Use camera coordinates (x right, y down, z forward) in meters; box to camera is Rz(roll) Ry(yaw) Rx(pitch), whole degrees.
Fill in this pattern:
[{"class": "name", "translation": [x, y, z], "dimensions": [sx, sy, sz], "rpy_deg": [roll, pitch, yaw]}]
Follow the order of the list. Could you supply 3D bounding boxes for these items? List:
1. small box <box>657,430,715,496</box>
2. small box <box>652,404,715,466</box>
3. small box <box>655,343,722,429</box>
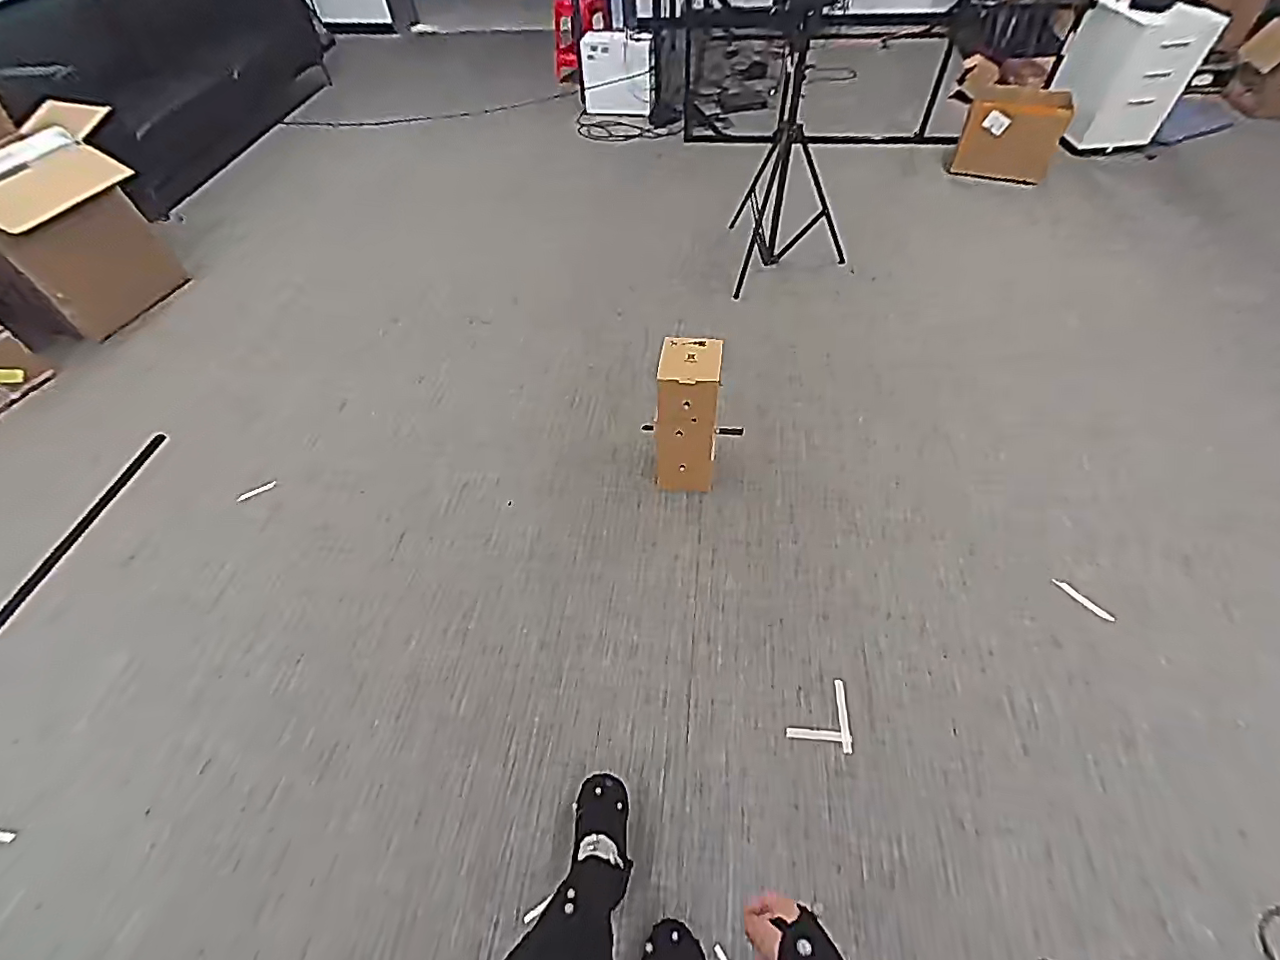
[{"class": "small box", "translation": [0.152, -0.062, 1.780], "dimensions": [0.179, 0.176, 0.168], "rpy_deg": [4, 53, 6]}, {"class": "small box", "translation": [0.137, -0.160, 1.648], "dimensions": [0.179, 0.176, 0.168], "rpy_deg": [6, 54, 8]}, {"class": "small box", "translation": [0.138, -0.260, 1.518], "dimensions": [0.168, 0.176, 0.179], "rpy_deg": [5, 54, 8]}]
